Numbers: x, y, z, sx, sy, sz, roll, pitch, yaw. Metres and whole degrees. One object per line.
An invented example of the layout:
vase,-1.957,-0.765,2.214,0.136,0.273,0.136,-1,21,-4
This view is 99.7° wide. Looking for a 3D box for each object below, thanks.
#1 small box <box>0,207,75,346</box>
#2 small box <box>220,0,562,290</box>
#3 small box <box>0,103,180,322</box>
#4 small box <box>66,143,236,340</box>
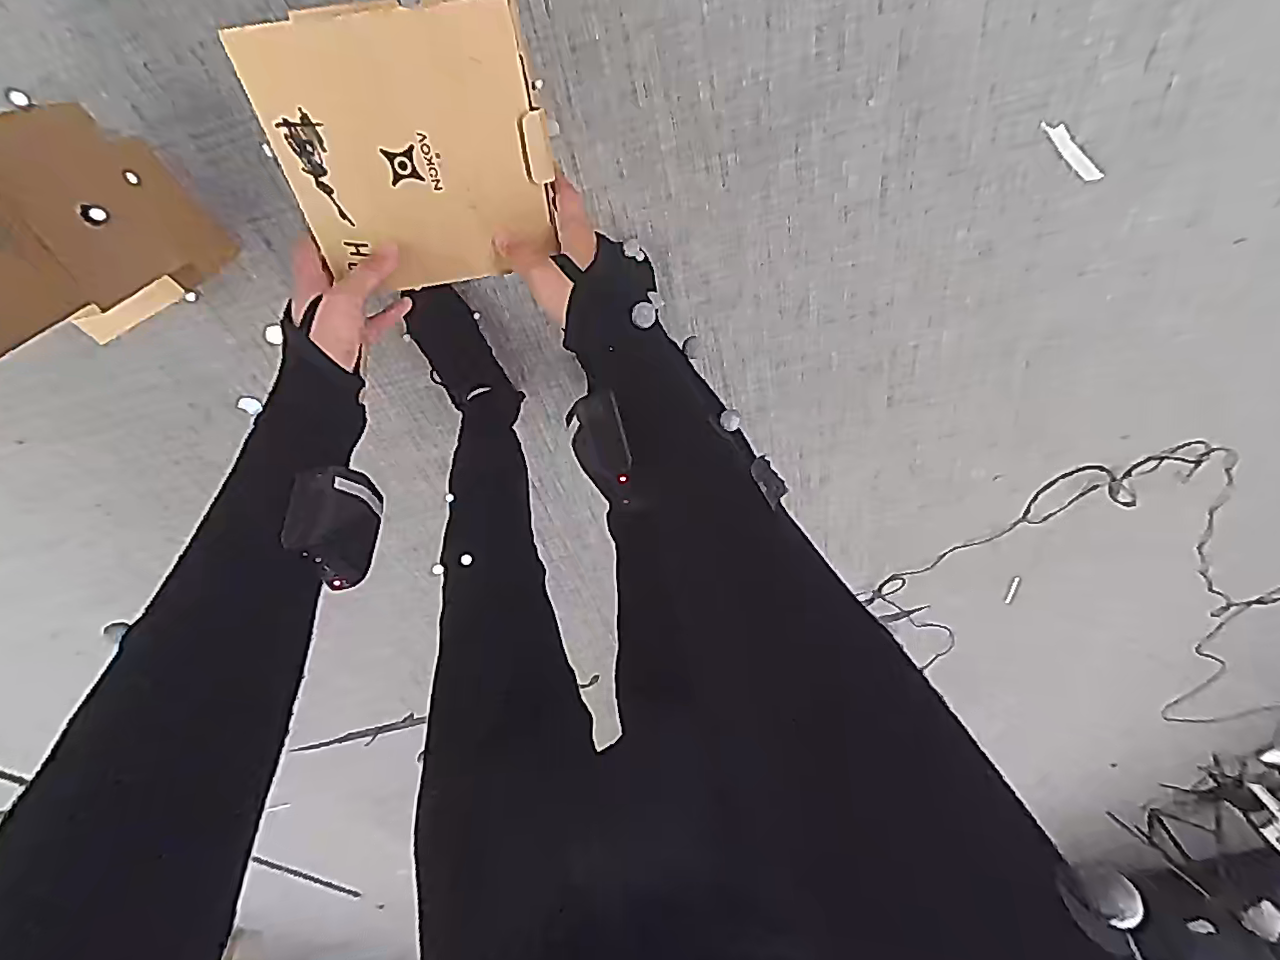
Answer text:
small box,-0.657,-0.169,0.448,0.179,0.176,0.168,-16,130,7
small box,-0.167,-0.273,0.429,0.179,0.176,0.168,-11,131,-4
small box,-0.660,-0.279,0.571,0.168,0.176,0.179,-10,131,2
small box,-0.715,-0.330,0.736,0.168,0.176,0.179,-22,131,11
